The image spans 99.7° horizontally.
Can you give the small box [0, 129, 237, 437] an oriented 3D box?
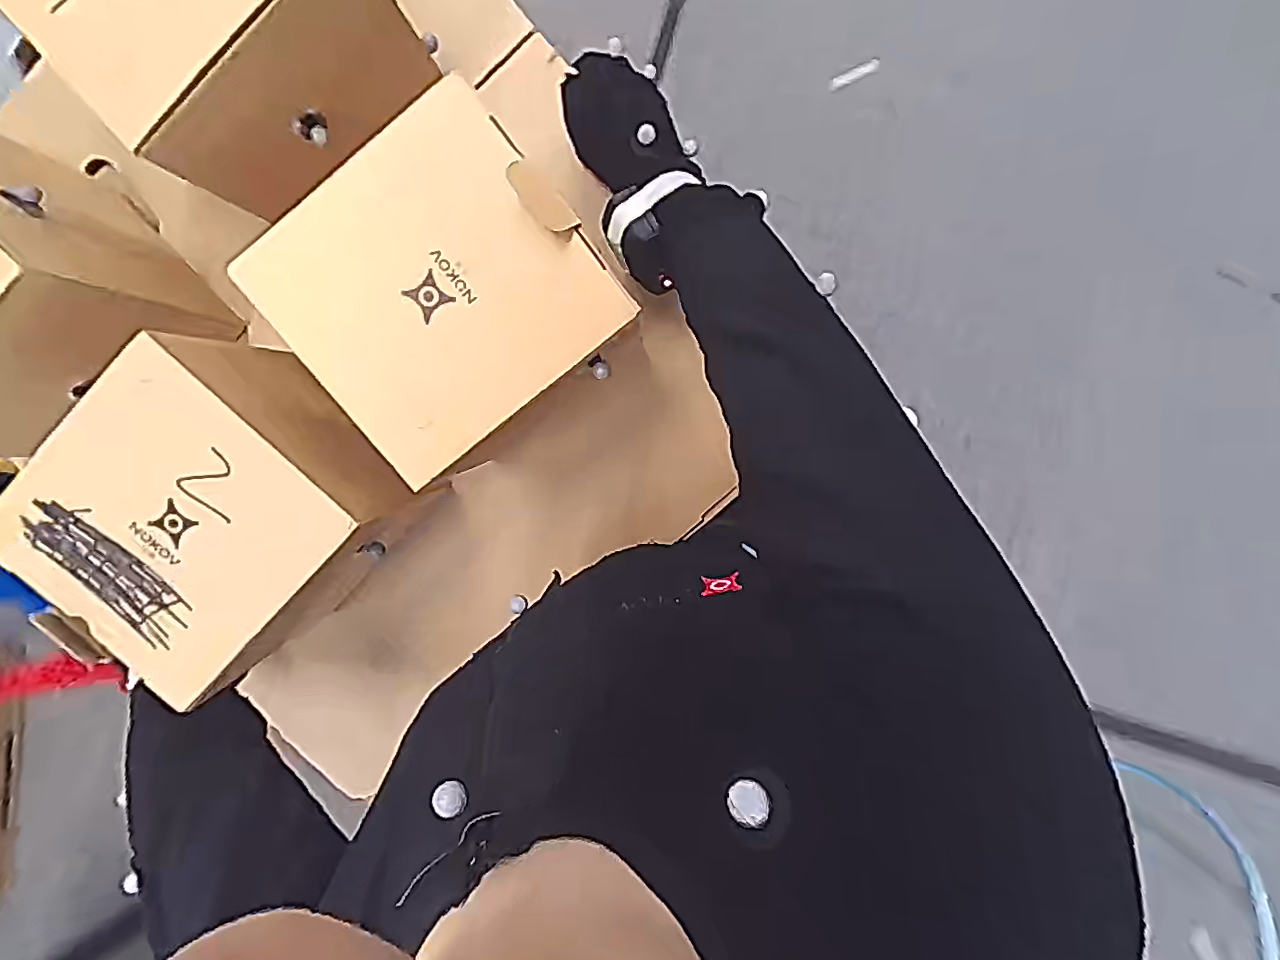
[{"bbox_3d":[-0.467,-0.146,0.405,0.168,0.176,0.179,-42,91,6],"label":"small box"}]
